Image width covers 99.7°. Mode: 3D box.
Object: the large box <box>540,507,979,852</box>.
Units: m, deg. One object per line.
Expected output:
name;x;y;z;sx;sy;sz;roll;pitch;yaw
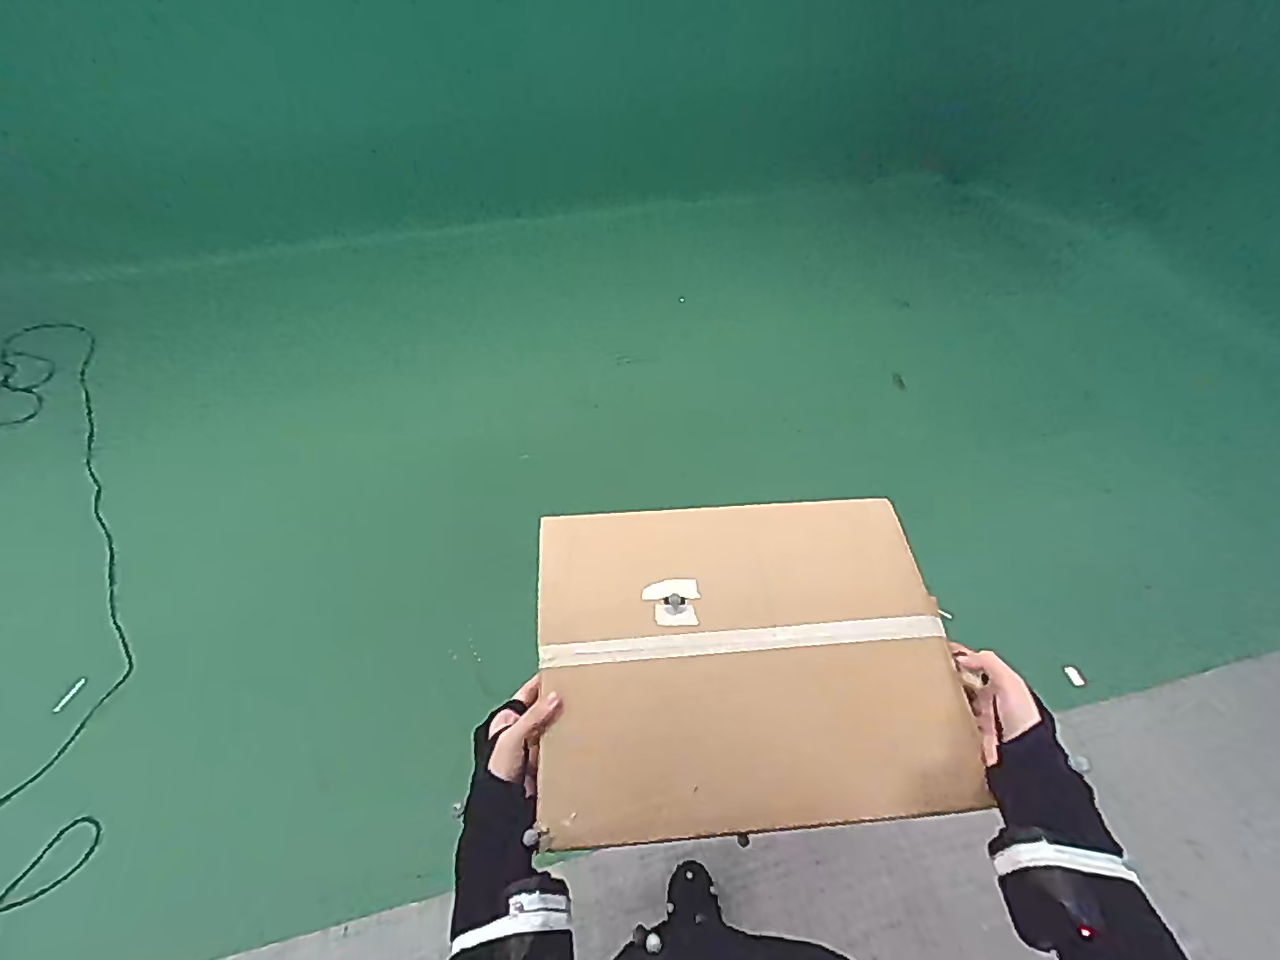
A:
large box;0.098;0.252;0.679;0.408;0.320;0.320;-3;58;-3
